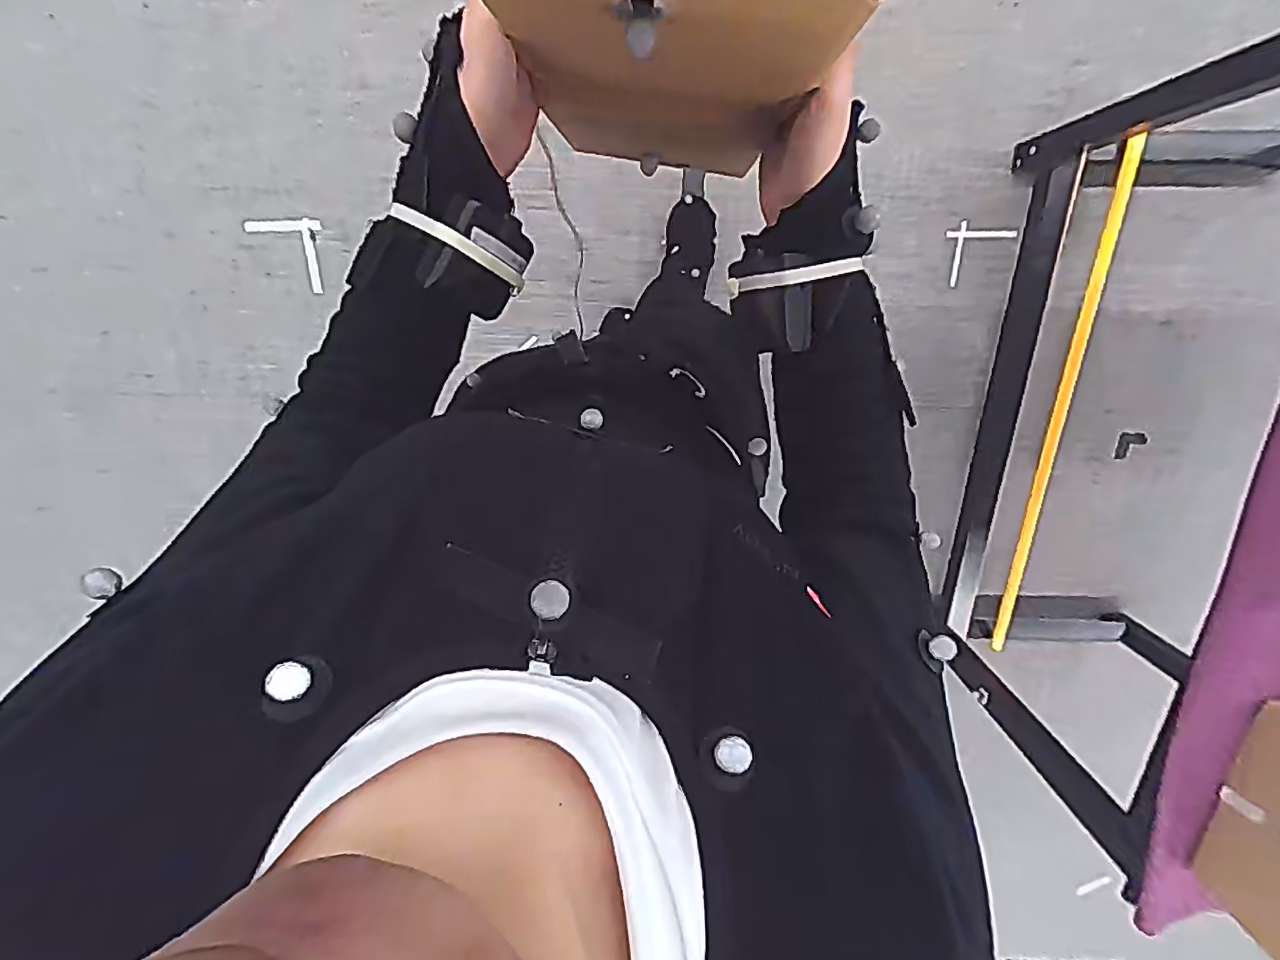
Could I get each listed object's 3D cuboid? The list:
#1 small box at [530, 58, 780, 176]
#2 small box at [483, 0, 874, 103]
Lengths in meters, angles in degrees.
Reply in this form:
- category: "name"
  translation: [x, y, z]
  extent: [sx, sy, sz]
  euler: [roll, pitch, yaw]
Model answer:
- category: "small box"
  translation: [0.025, -0.348, 0.401]
  extent: [0.168, 0.176, 0.179]
  euler: [9, 112, 0]
- category: "small box"
  translation: [0.021, -0.297, 0.246]
  extent: [0.179, 0.176, 0.168]
  euler: [9, 111, 1]
